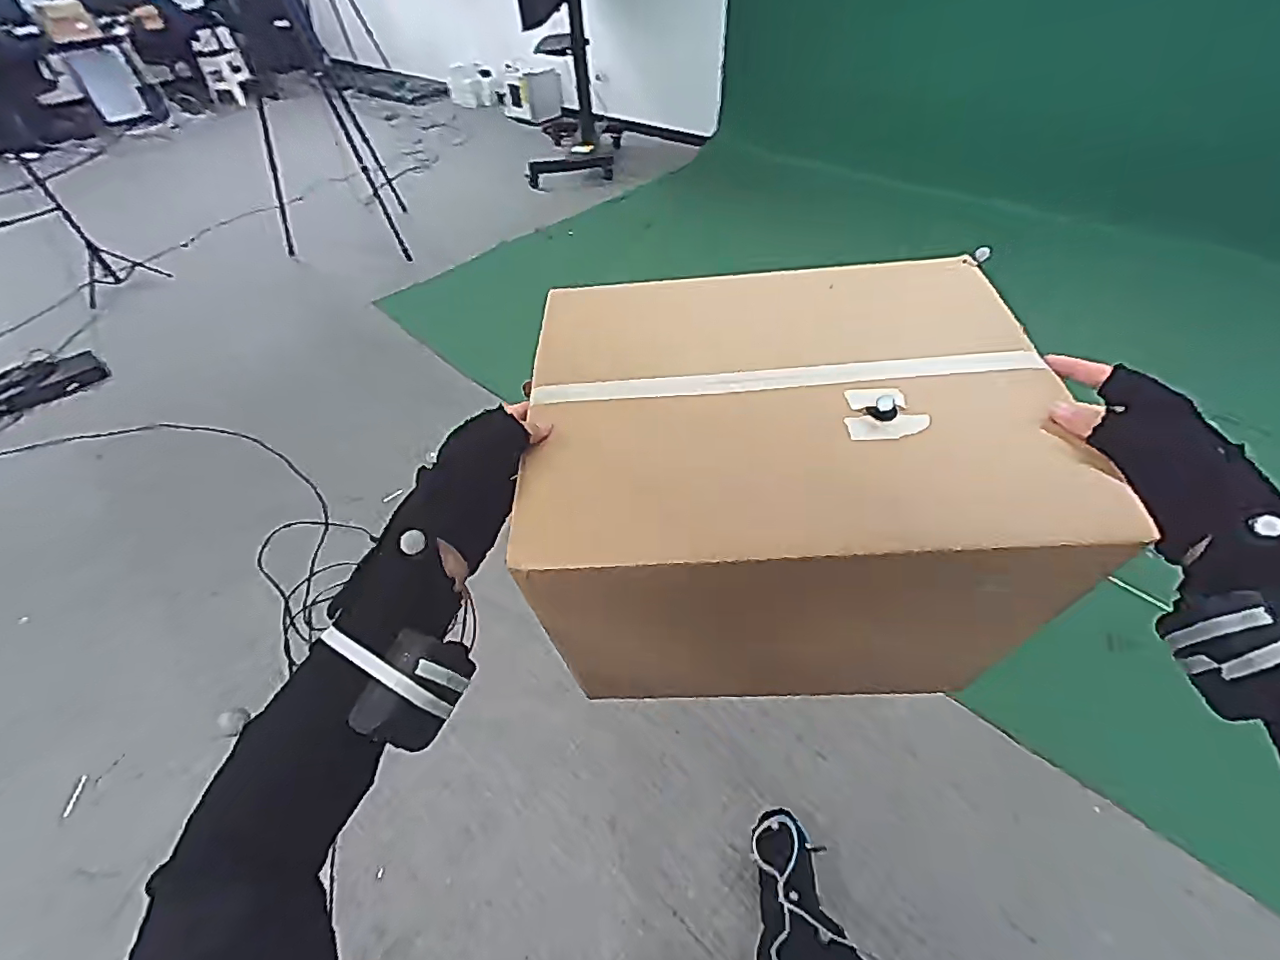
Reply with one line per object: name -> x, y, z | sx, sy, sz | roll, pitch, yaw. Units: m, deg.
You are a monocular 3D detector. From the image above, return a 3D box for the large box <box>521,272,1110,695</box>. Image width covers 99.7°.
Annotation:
large box -> 0.120, 0.017, 0.570 | 0.408, 0.320, 0.320 | -3, 52, 3
